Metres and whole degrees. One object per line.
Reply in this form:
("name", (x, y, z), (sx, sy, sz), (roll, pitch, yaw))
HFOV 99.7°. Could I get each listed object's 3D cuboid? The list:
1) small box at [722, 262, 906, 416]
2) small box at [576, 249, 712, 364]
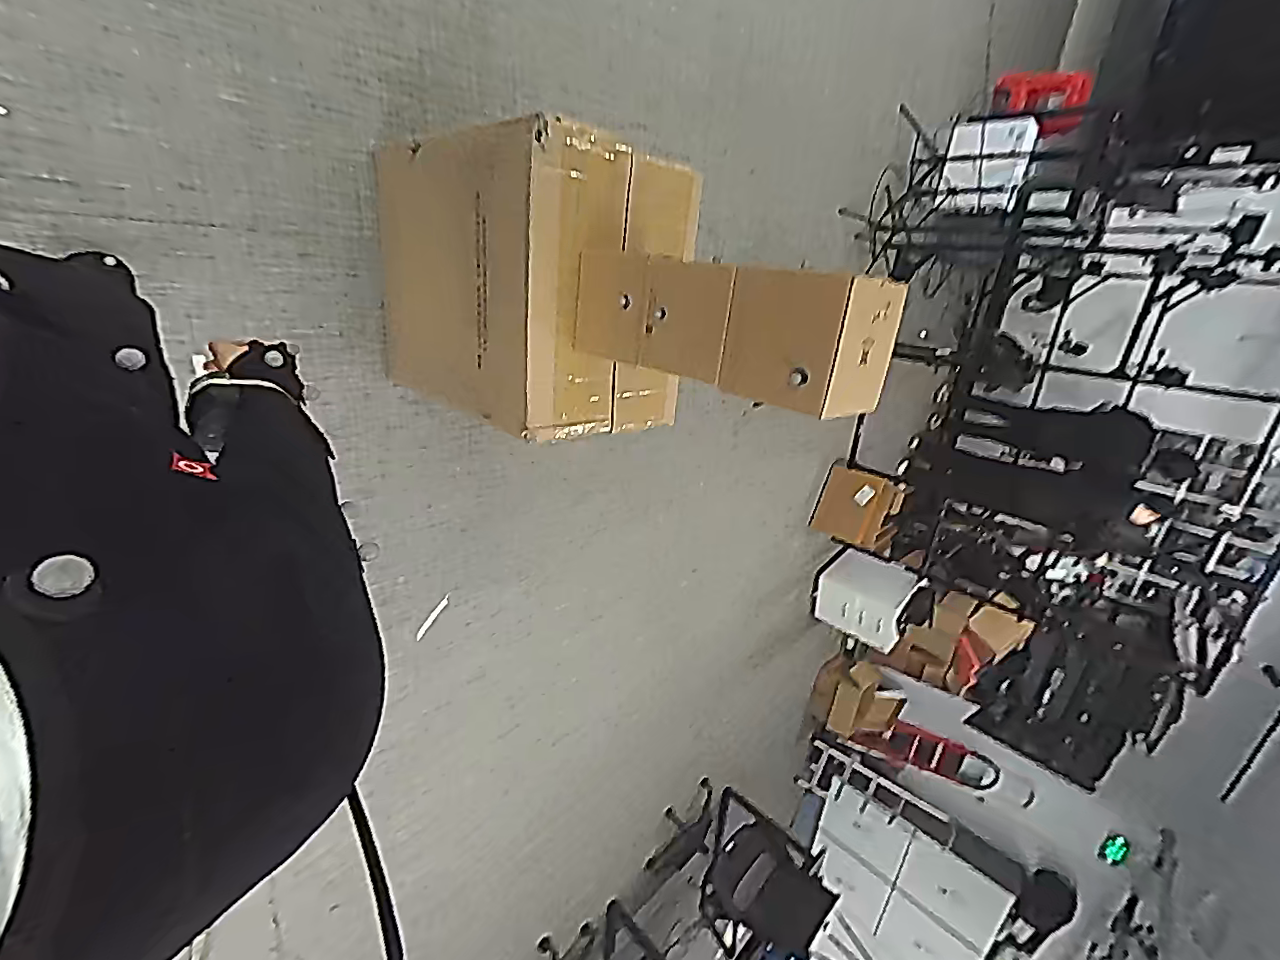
("small box", (0.234, -0.198, 0.754), (0.168, 0.176, 0.179), (-13, 118, -44))
("small box", (0.002, -0.307, 0.961), (0.168, 0.176, 0.179), (-12, 118, -44))
